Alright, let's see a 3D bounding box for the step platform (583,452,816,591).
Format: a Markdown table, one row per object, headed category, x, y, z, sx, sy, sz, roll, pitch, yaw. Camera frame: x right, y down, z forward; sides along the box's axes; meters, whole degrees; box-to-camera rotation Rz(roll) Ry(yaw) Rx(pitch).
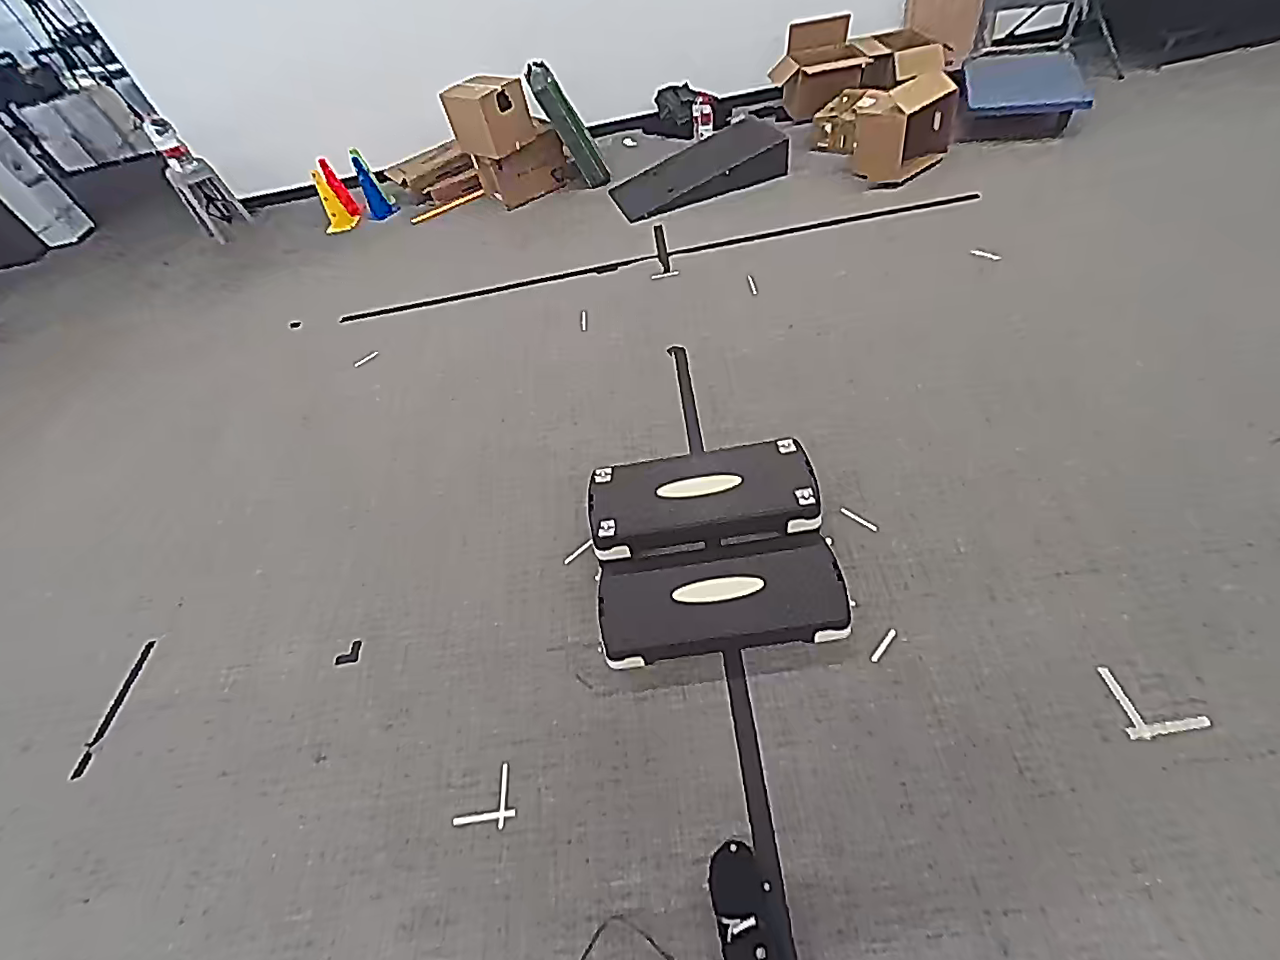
| category | x | y | z | sx | sy | sz | roll | pitch | yaw |
| --- | --- | --- | --- | --- | --- | --- | --- | --- | --- |
| step platform | 0.171 | 0.120 | 1.635 | 0.684 | 0.204 | 0.286 | -10 | 50 | 3 |
